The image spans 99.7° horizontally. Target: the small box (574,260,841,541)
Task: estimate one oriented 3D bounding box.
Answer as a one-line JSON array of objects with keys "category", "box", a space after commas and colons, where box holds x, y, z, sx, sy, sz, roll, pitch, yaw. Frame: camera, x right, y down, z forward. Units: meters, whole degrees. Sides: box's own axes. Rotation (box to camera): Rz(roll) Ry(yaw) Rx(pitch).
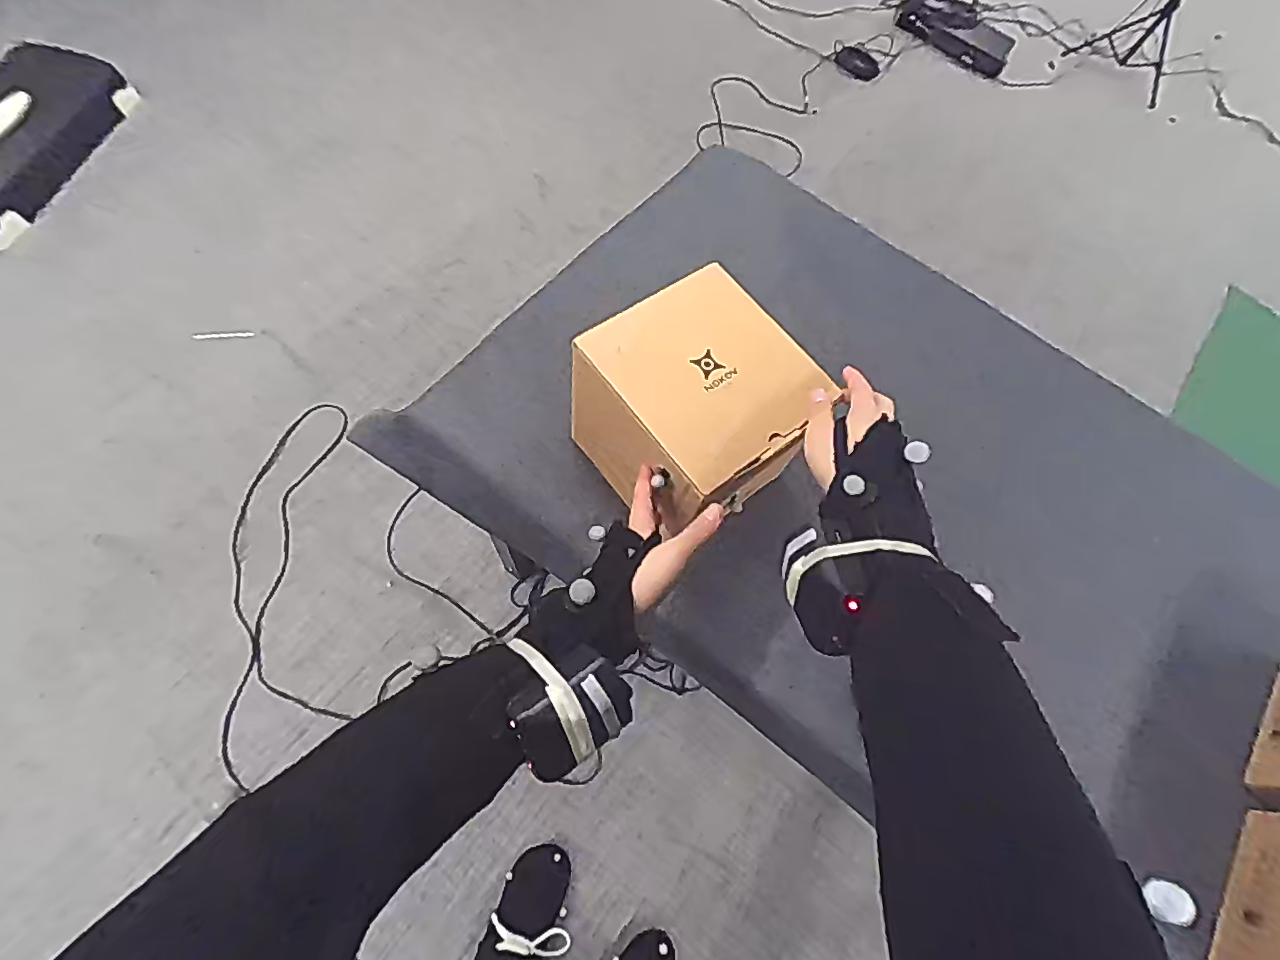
[{"category": "small box", "box": [0.047, -0.067, 0.525, 0.168, 0.176, 0.179, -33, 76, -19]}]
